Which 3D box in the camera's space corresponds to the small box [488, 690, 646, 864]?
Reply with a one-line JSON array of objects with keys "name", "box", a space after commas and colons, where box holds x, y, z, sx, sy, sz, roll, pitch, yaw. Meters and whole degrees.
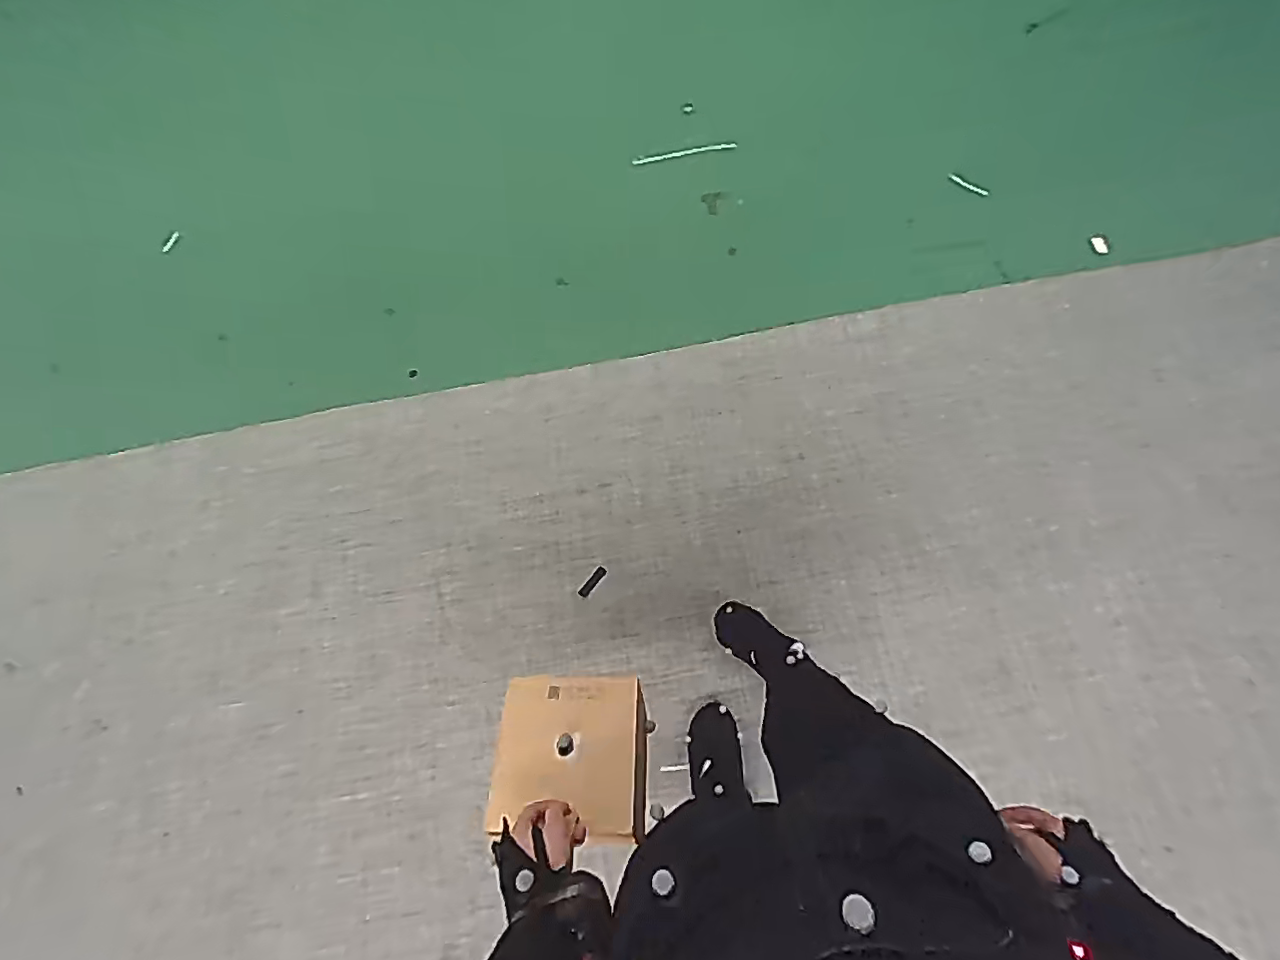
[{"name": "small box", "box": [-0.080, 0.376, 0.689, 0.168, 0.179, 0.176, -3, 50, 3]}]
